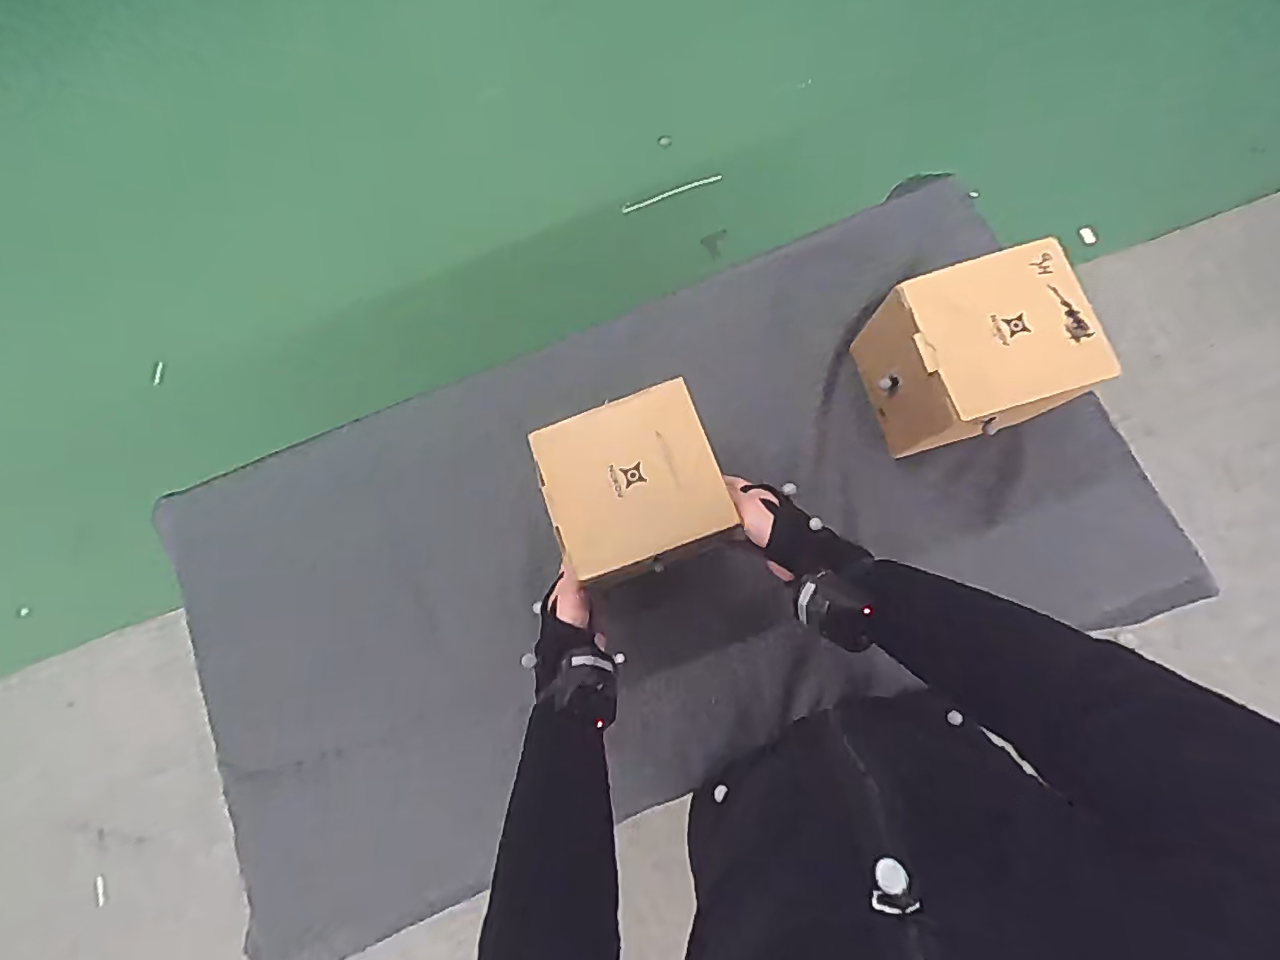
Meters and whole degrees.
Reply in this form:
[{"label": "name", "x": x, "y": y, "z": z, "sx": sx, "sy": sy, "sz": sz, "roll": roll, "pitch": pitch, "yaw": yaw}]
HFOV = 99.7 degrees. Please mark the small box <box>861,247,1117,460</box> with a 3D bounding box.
[{"label": "small box", "x": 0.383, "y": -0.135, "z": 0.639, "sx": 0.179, "sy": 0.176, "sz": 0.168, "roll": -16, "pitch": 79, "yaw": 1}]
